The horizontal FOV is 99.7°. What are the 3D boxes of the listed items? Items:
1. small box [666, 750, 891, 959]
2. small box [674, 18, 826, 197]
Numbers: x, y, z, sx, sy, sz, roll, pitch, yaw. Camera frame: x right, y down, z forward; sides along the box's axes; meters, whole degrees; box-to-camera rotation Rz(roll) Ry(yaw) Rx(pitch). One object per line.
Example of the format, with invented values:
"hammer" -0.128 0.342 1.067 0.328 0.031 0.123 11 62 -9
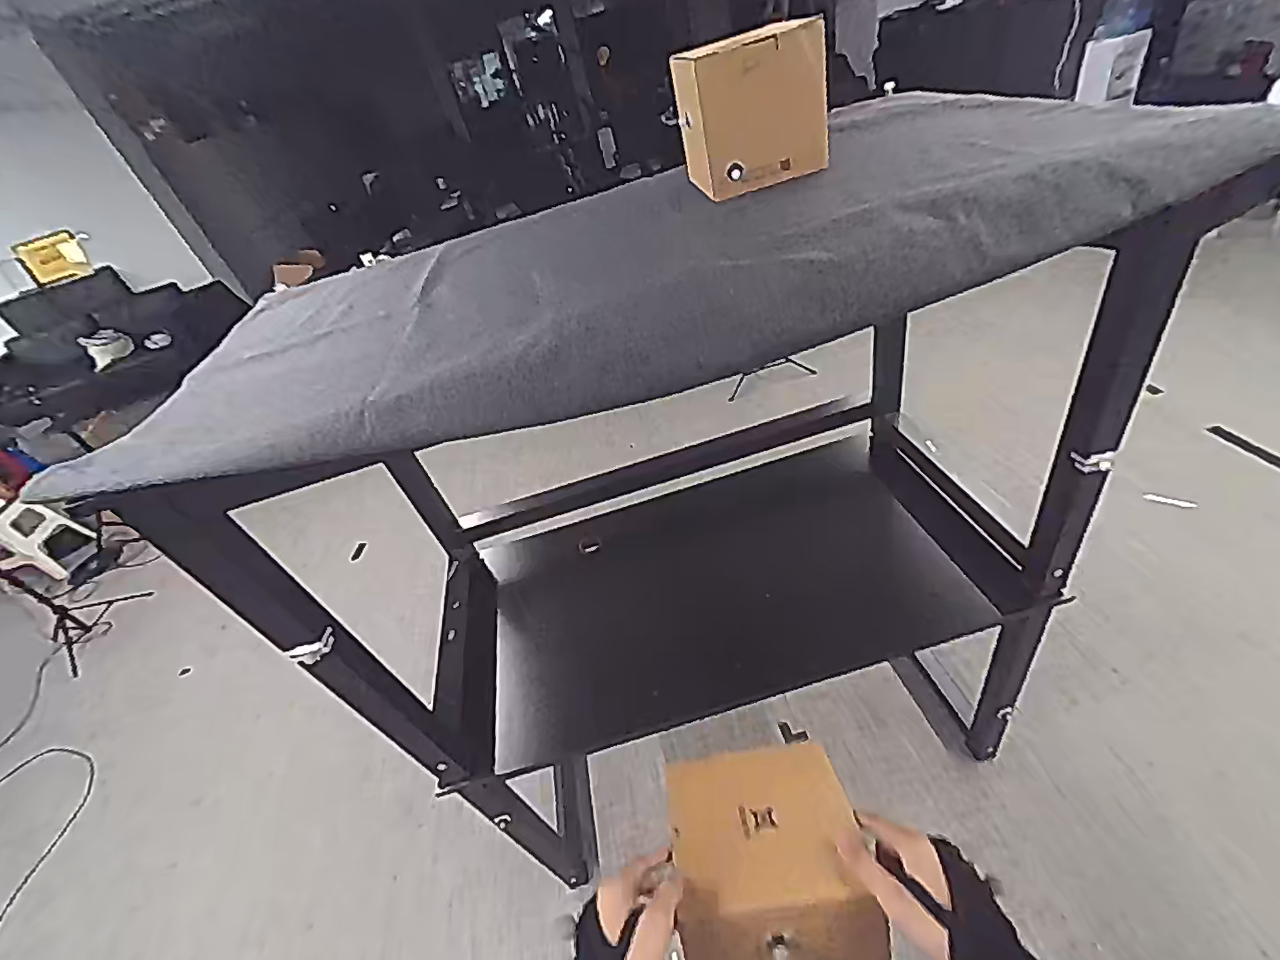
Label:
"small box" 0.128 0.407 0.536 0.179 0.176 0.168 -10 16 2
"small box" 0.156 -0.522 0.769 0.168 0.176 0.179 -15 38 3
